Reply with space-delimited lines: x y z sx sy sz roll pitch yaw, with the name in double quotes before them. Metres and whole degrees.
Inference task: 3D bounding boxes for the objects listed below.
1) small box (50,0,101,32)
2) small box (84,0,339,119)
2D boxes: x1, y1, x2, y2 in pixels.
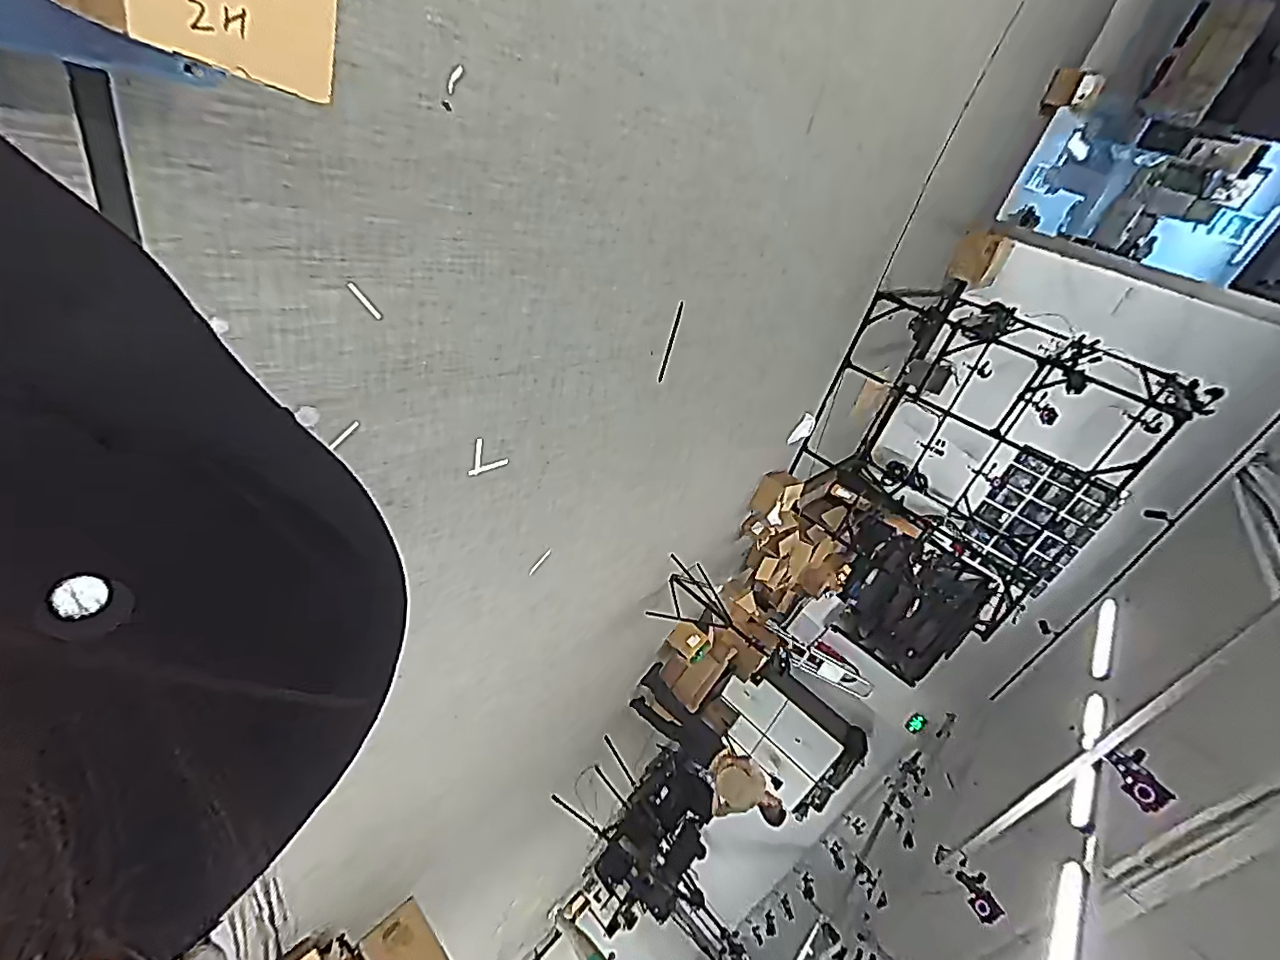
"small box" -0.540 -0.577 0.608 0.179 0.176 0.168 -17 135 -50
"small box" -0.420 -0.495 0.529 0.168 0.176 0.179 -15 133 -51
